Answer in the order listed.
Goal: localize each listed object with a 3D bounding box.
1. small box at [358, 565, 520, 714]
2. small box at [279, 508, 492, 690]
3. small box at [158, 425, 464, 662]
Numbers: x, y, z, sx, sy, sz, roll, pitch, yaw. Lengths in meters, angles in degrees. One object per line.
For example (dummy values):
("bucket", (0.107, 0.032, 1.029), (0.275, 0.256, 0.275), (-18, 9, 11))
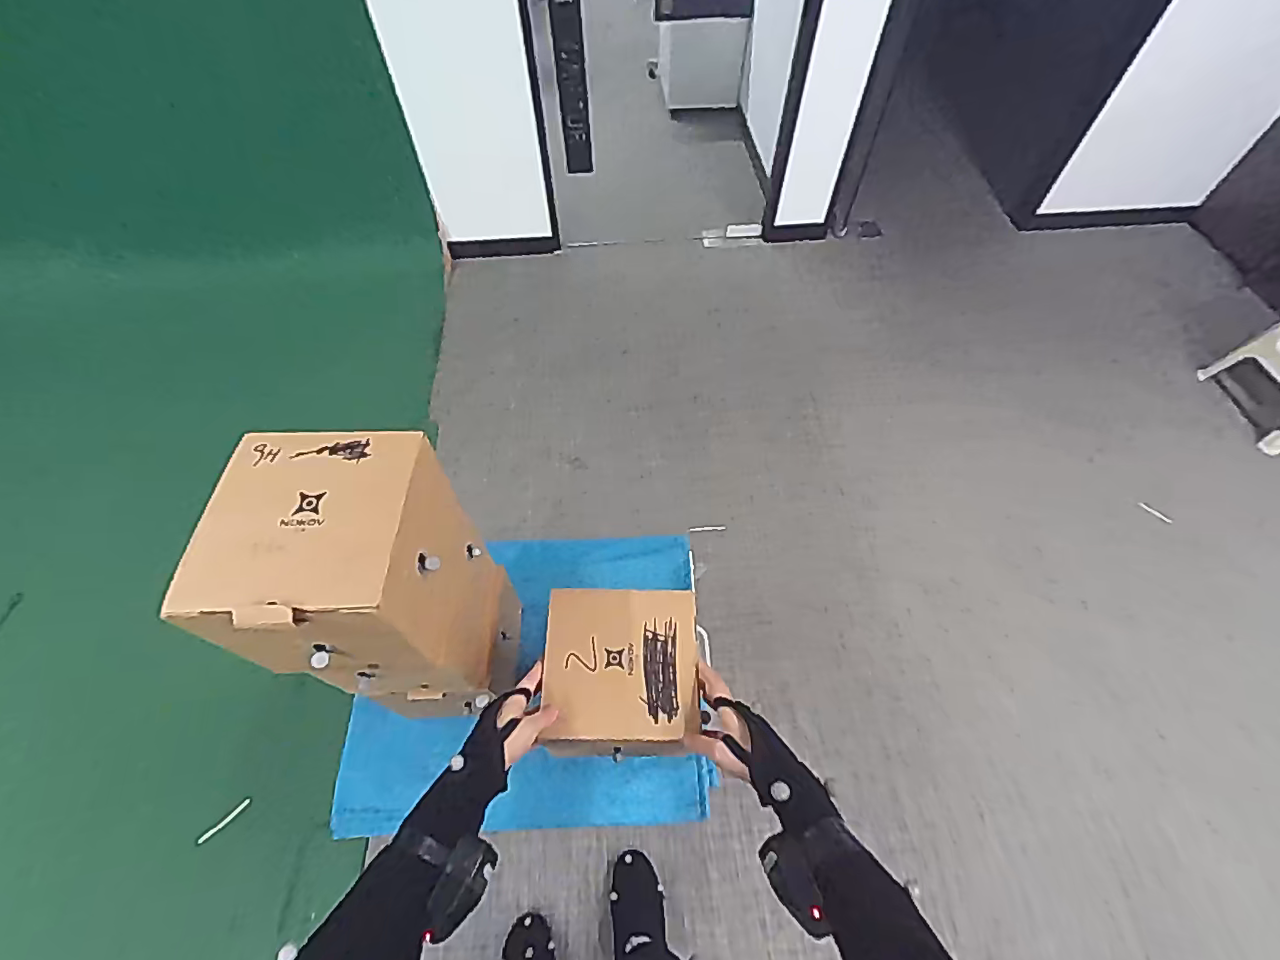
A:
("small box", (-0.277, 0.239, 0.793), (0.168, 0.176, 0.179), (0, 56, -2))
("small box", (-0.287, 0.150, 0.658), (0.168, 0.176, 0.179), (1, 55, -1))
("small box", (-0.280, 0.067, 0.515), (0.168, 0.176, 0.179), (1, 56, -1))
